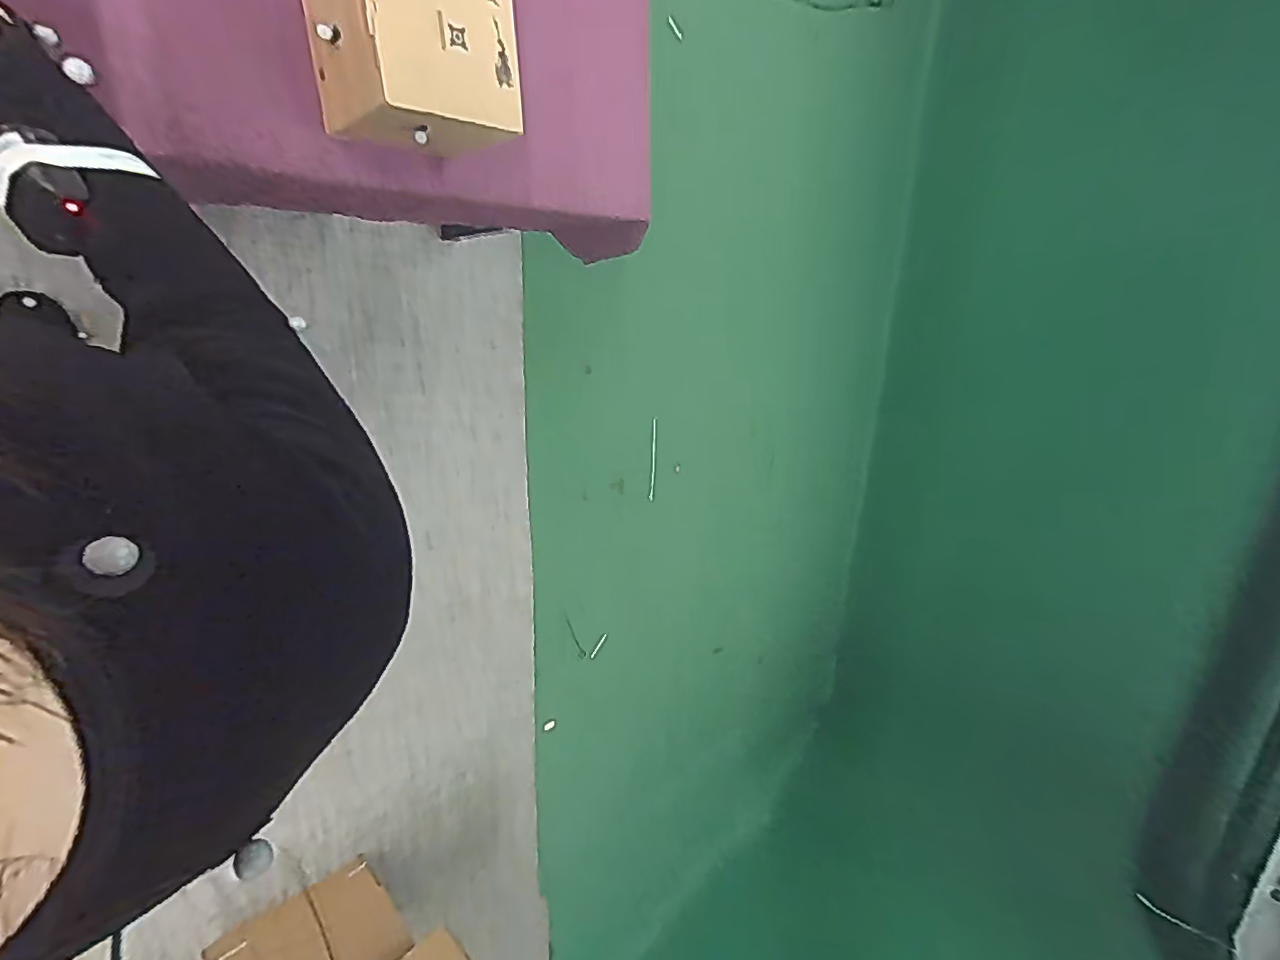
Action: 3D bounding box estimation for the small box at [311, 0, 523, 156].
[{"bbox_3d":[-0.263,-0.498,0.636,0.179,0.176,0.168,-20,116,-42],"label":"small box"}]
